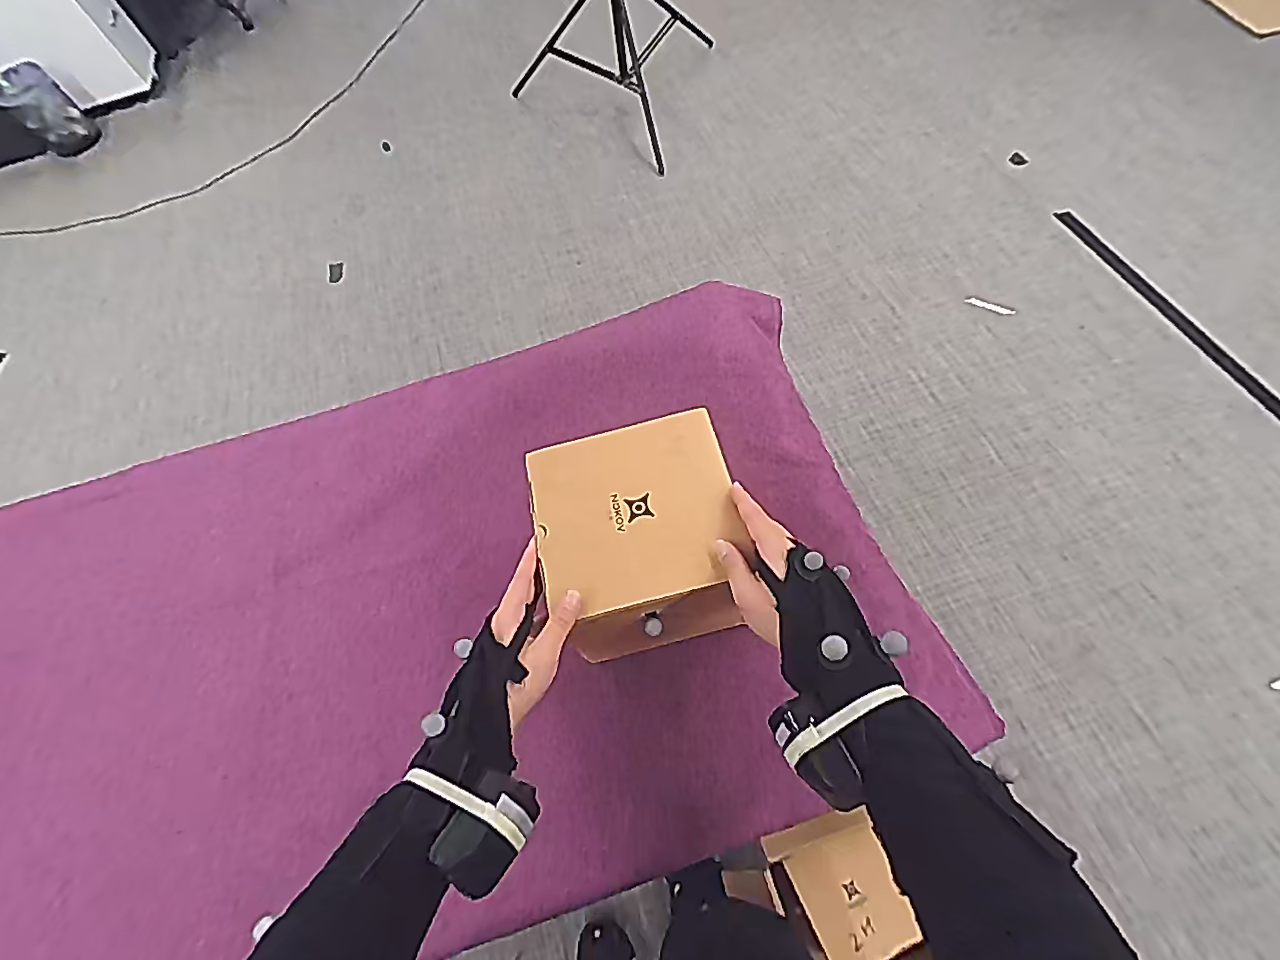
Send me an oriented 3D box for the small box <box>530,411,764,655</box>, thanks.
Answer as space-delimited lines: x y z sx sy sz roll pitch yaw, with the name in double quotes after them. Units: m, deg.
0.008 0.061 0.534 0.179 0.176 0.168 -15 62 1 "small box"
